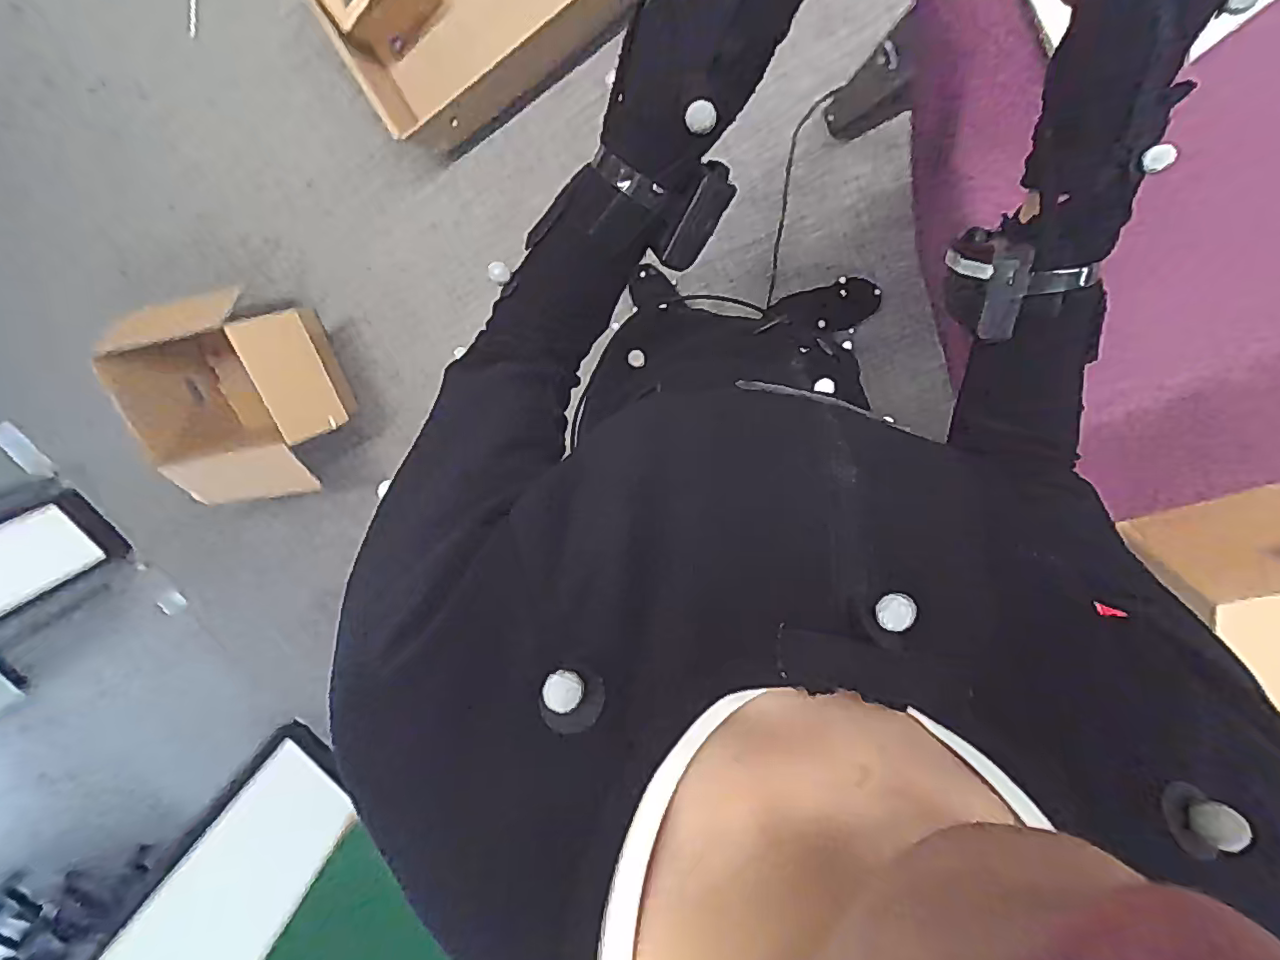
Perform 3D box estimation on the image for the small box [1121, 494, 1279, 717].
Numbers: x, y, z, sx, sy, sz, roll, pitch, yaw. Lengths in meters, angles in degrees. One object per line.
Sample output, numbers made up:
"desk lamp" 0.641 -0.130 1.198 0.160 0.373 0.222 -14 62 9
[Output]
"small box" 0.698 0.138 0.621 0.179 0.176 0.168 -16 111 17
